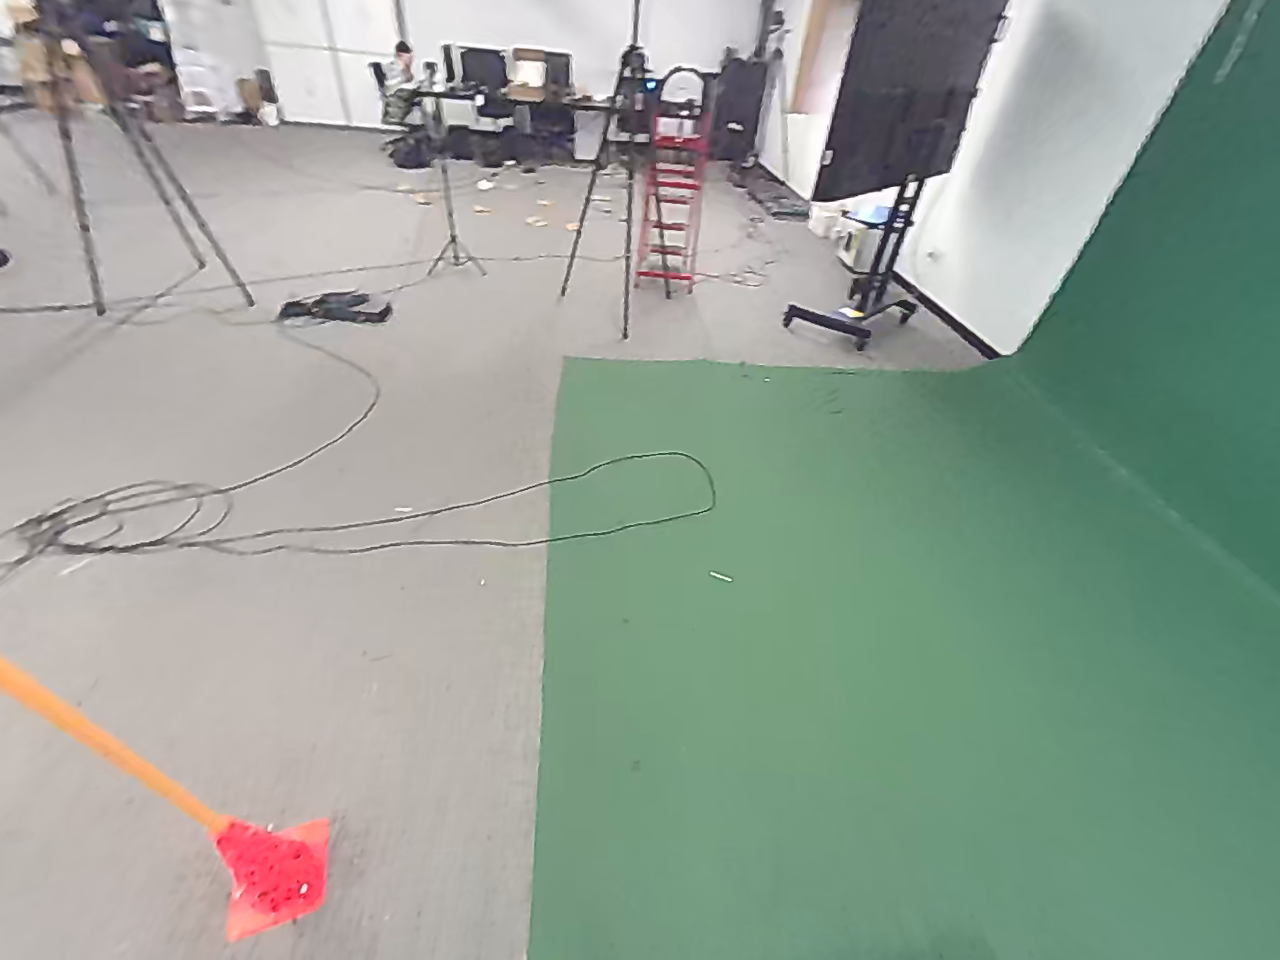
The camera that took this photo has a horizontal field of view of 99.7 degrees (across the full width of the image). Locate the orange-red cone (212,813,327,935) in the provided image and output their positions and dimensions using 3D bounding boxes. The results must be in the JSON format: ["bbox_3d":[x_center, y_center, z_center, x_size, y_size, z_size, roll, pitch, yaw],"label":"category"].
[{"bbox_3d":[-0.859,0.825,1.200,0.198,0.360,0.199,-9,41,-18],"label":"orange-red cone"}]
